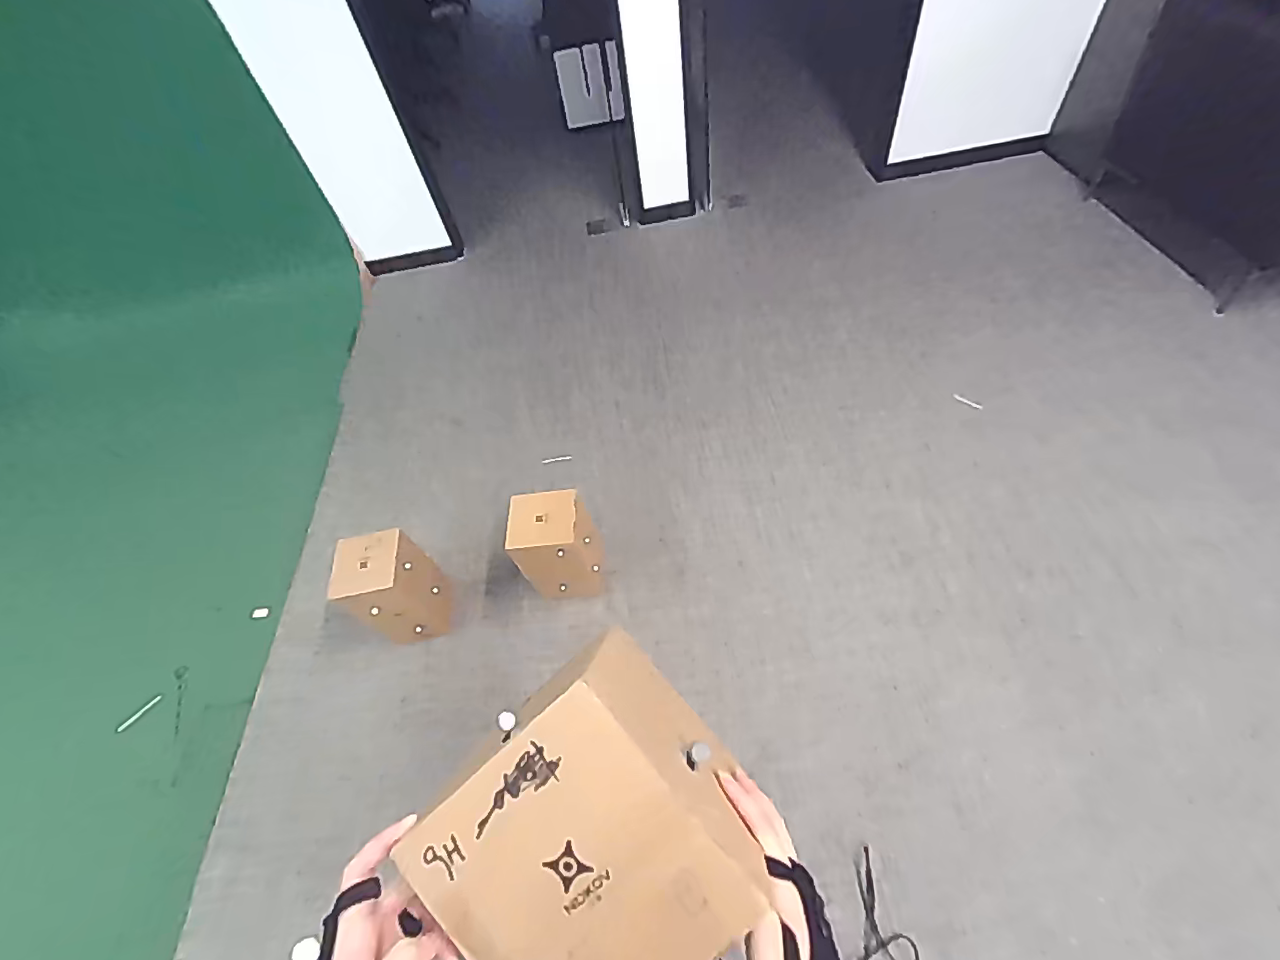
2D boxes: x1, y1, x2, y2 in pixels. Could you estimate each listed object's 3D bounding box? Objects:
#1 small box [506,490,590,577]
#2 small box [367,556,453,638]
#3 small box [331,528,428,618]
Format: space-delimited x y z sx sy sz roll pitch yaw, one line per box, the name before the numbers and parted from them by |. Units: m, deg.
small box | -0.238 0.147 1.440 0.179 0.176 0.168 -6 53 5
small box | -0.657 0.346 1.568 0.168 0.176 0.179 -10 53 1
small box | -0.679 0.253 1.434 0.168 0.176 0.179 -10 53 0
